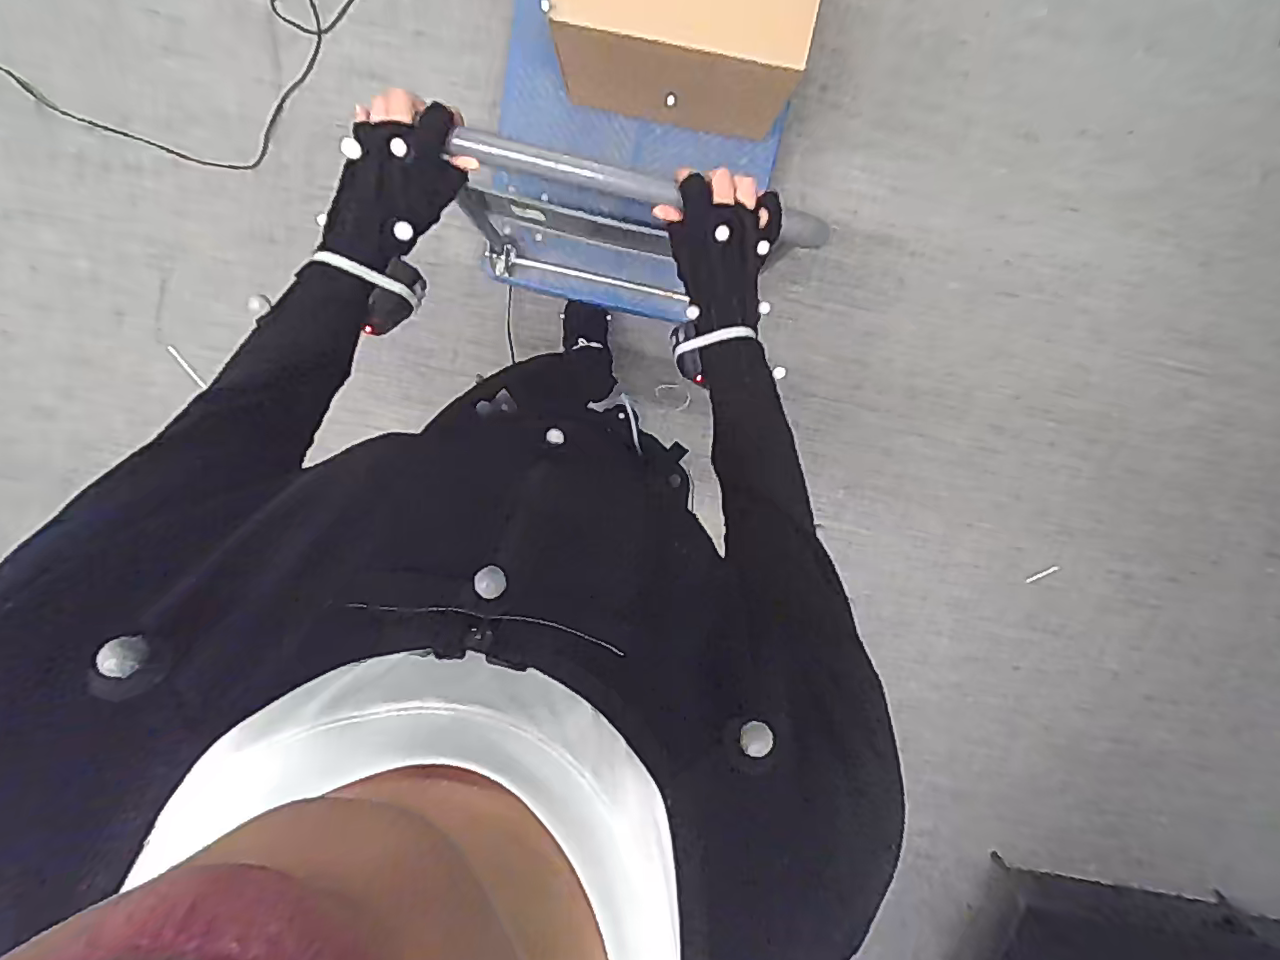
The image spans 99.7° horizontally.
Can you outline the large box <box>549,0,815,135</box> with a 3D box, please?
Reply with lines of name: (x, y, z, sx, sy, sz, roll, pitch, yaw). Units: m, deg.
large box: (0.084, -0.852, 0.940, 0.408, 0.320, 0.320, 10, 103, -2)
